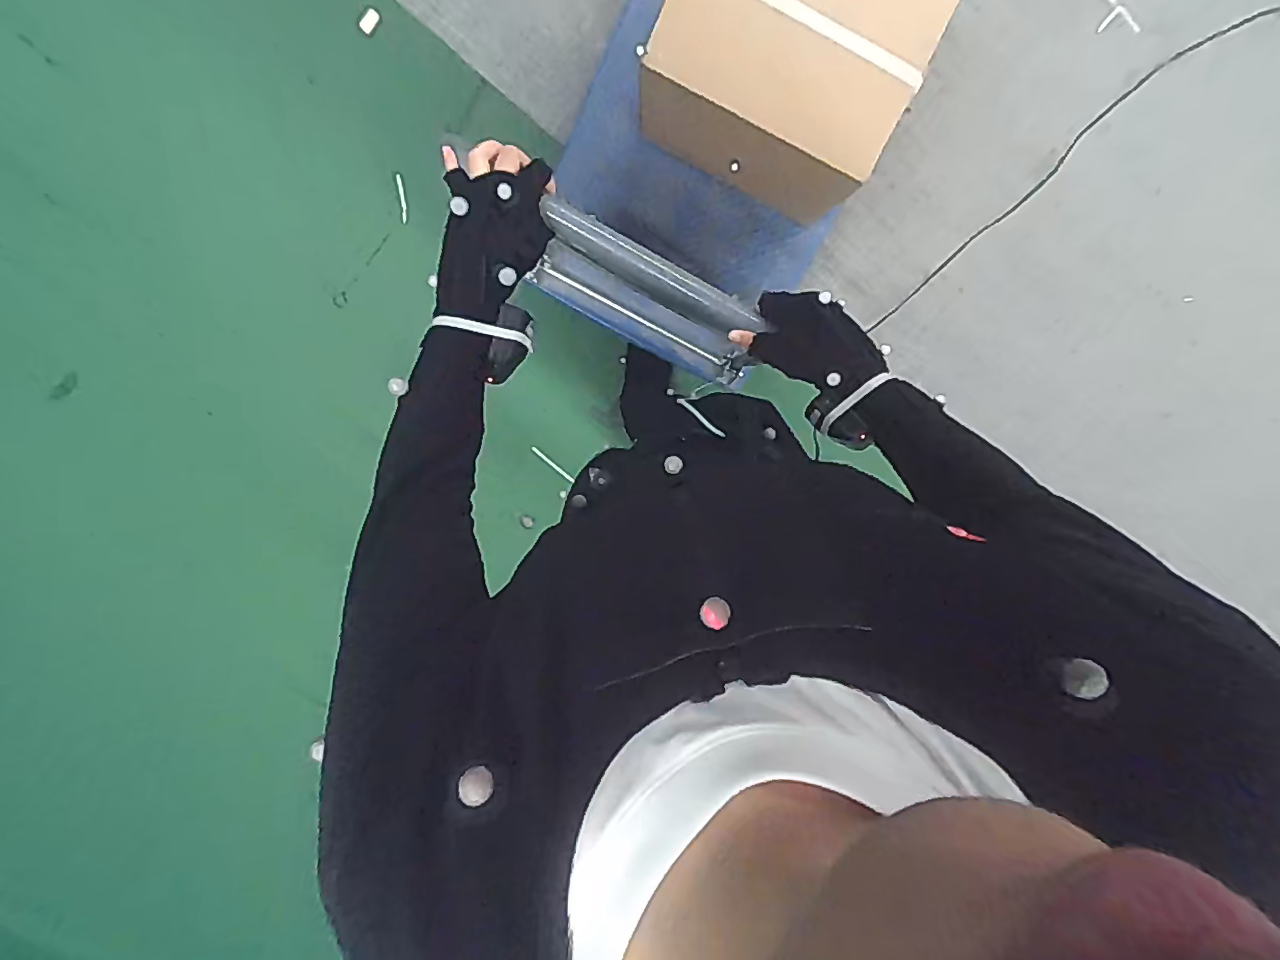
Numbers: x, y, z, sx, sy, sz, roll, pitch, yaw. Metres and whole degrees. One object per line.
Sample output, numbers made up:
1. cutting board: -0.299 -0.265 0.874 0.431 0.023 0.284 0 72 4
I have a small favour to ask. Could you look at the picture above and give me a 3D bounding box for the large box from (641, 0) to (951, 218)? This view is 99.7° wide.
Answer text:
1. large box: 0.246 -0.733 0.970 0.408 0.320 0.320 24 102 -5
